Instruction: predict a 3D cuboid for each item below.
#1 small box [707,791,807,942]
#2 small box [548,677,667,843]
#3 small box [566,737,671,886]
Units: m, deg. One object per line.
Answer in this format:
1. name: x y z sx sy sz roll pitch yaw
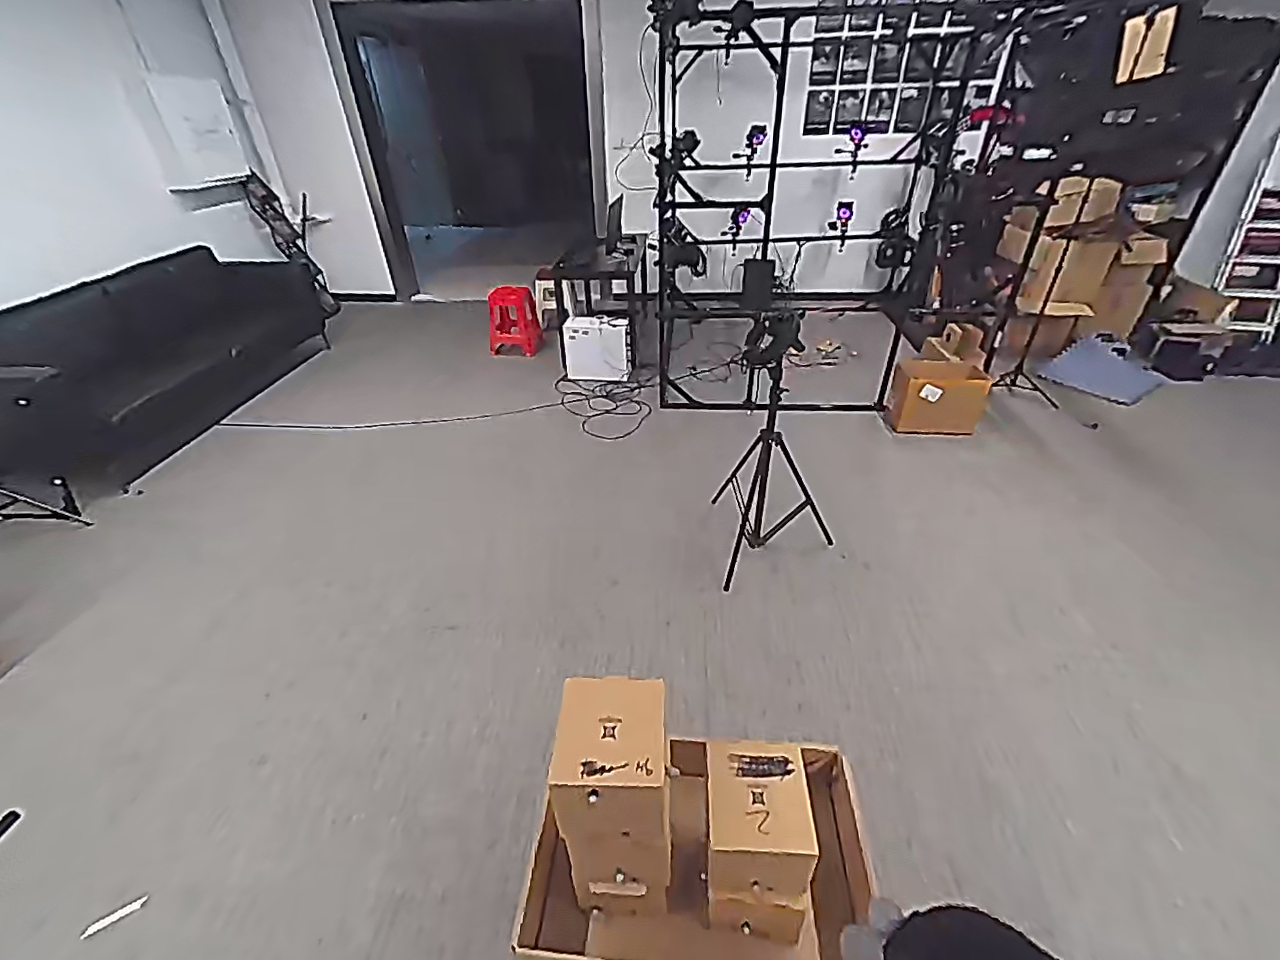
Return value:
1. small box: 0.213 0.724 1.017 0.168 0.176 0.179 1 35 8
2. small box: -0.042 0.442 0.862 0.168 0.176 0.179 -1 34 4
3. small box: -0.029 0.578 0.954 0.168 0.176 0.179 0 35 4
